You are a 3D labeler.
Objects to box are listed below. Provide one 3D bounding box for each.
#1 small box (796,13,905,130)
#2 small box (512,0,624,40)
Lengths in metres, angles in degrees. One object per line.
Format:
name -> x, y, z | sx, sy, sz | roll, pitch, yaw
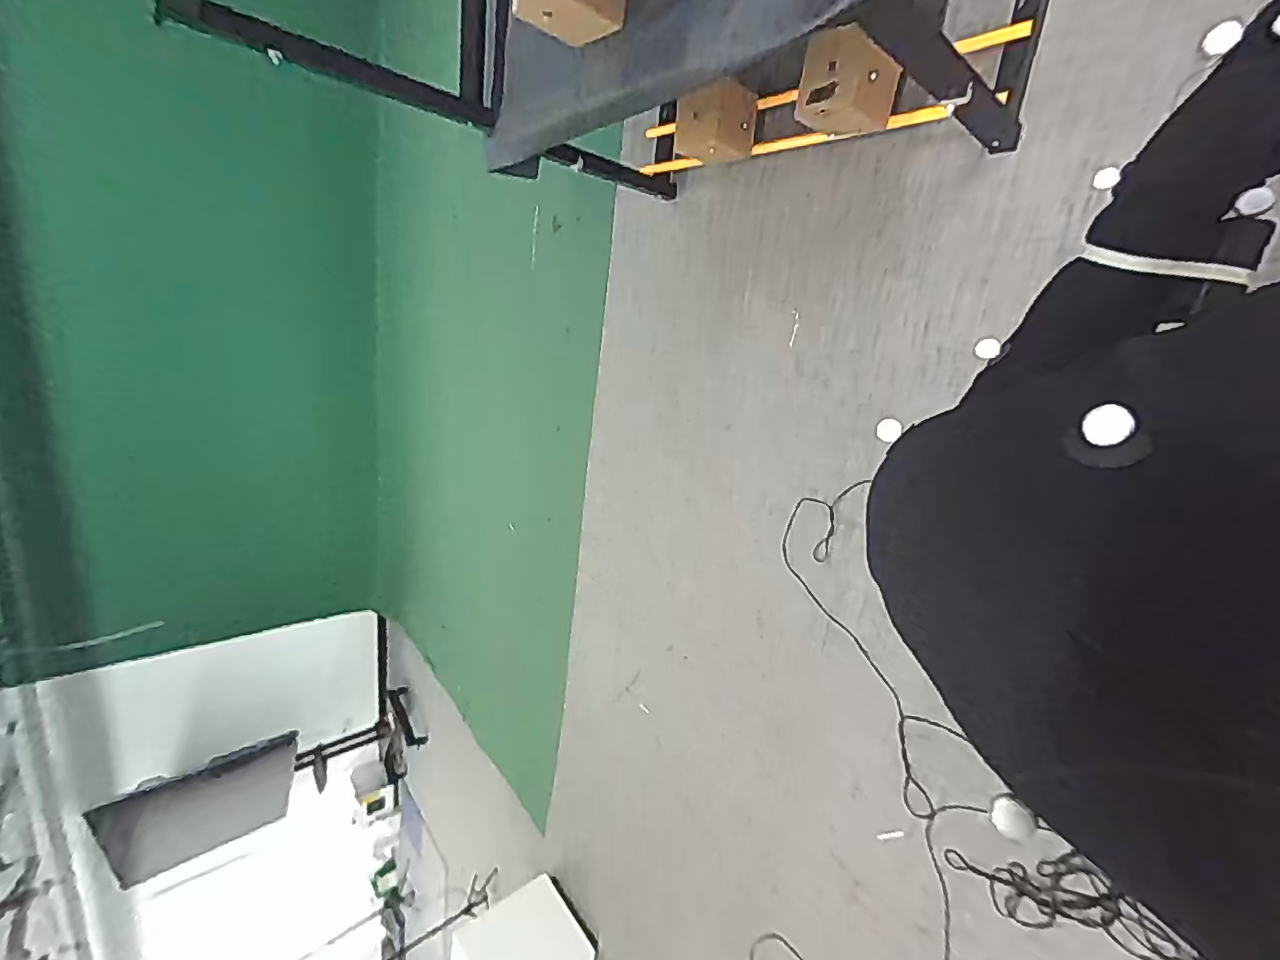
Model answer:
small box -> 0.511, -0.971, 1.309 | 0.168, 0.176, 0.179 | 27, 115, 44
small box -> -0.139, -1.039, 1.098 | 0.179, 0.176, 0.168 | 27, 115, 45
